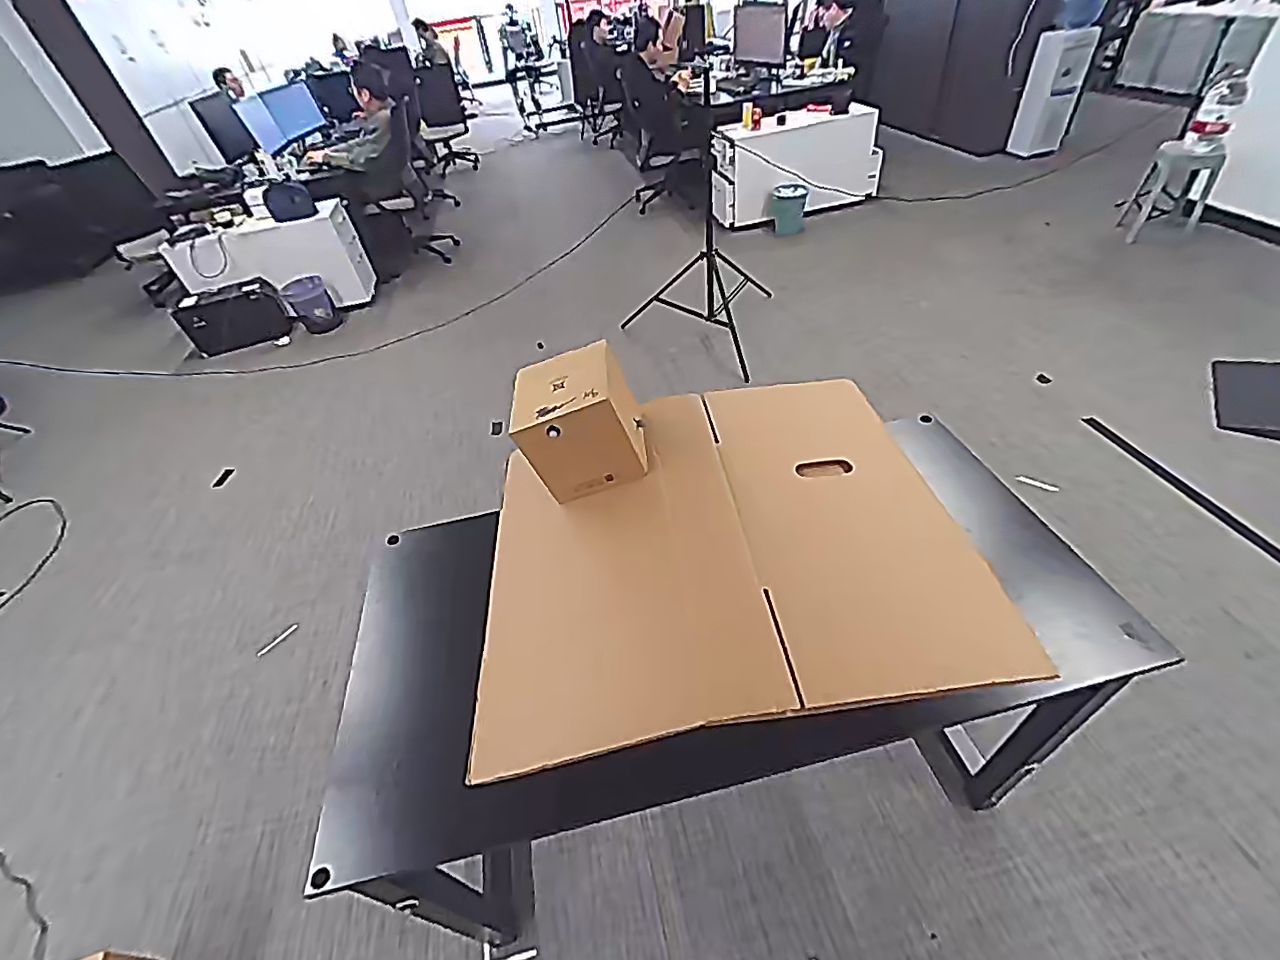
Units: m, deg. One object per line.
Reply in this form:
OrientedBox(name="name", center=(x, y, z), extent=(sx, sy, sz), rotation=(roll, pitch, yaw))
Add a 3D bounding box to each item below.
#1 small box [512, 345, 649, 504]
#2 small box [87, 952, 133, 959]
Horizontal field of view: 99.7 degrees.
OrientedBox(name="small box", center=(-0.093, -0.091, 0.909), extent=(0.168, 0.176, 0.179), rotation=(-19, 41, 11))
OrientedBox(name="small box", center=(-1.014, 1.002, 0.975), extent=(0.168, 0.176, 0.179), rotation=(-17, 42, -10))
